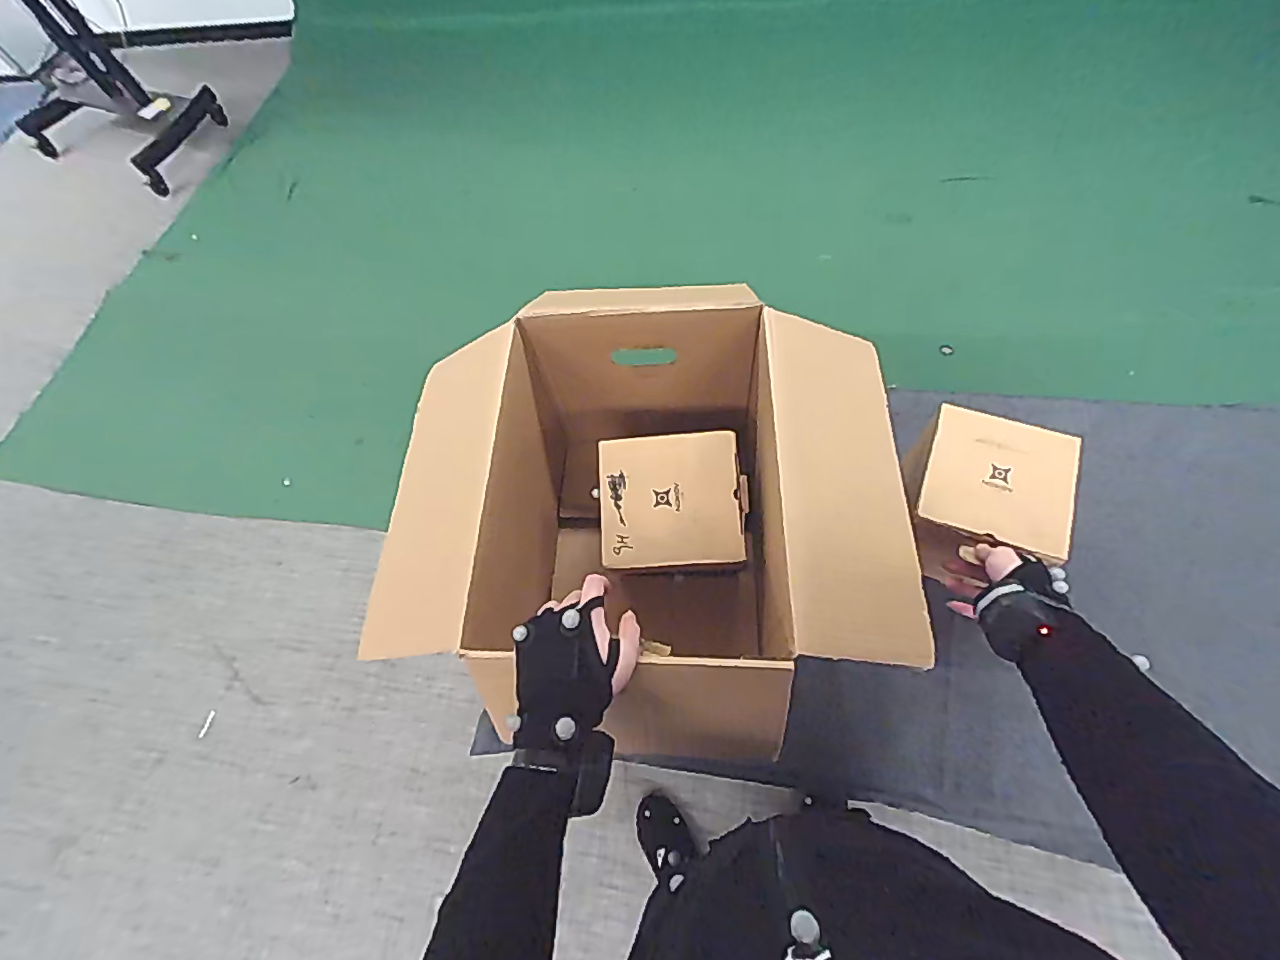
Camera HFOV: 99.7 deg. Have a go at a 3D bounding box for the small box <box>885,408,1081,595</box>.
[{"bbox_3d":[0.454,0.037,0.739,0.168,0.176,0.179,19,66,14],"label":"small box"}]
